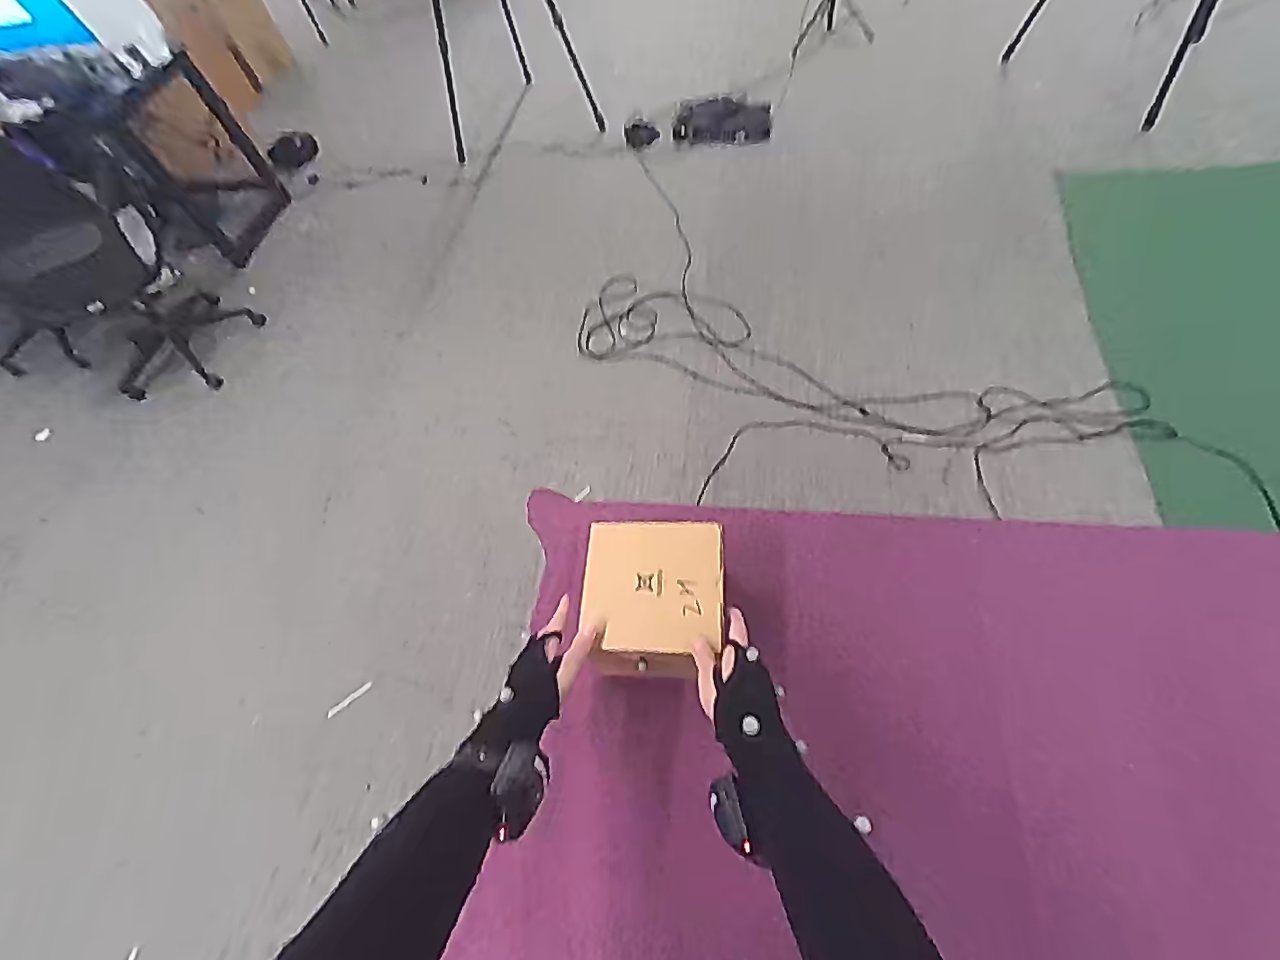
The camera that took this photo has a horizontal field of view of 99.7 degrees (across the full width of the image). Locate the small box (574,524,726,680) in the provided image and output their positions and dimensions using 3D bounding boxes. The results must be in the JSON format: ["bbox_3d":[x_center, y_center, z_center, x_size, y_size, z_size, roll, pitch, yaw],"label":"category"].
[{"bbox_3d":[0.025,0.169,0.735,0.179,0.176,0.168,-1,60,10],"label":"small box"}]
